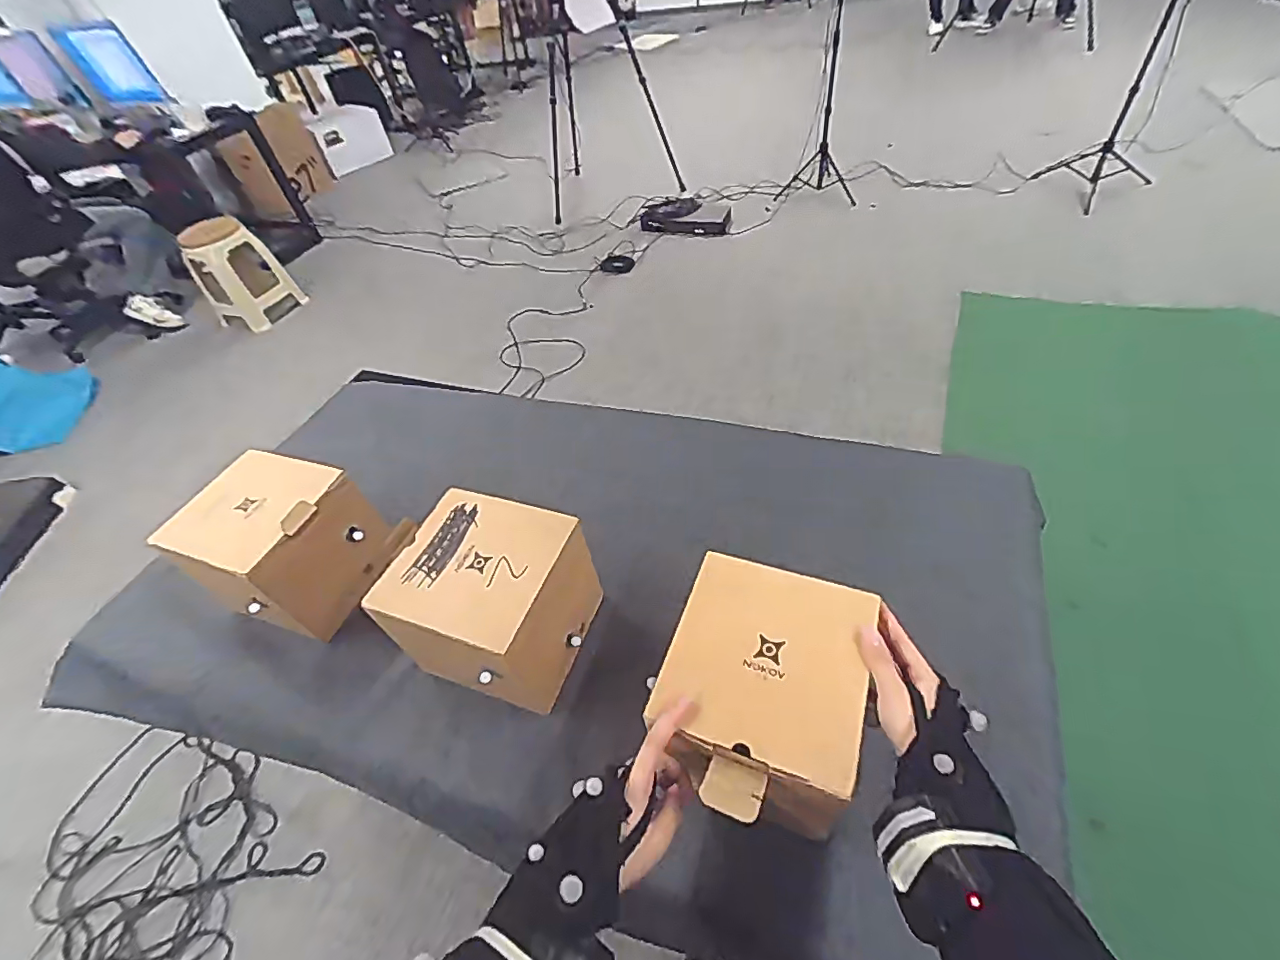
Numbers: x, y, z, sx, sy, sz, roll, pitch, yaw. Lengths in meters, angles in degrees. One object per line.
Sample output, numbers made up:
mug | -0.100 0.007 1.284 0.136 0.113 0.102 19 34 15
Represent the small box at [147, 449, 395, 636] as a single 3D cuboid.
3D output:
small box | -0.469 0.085 0.721 0.179 0.176 0.168 10 49 19
